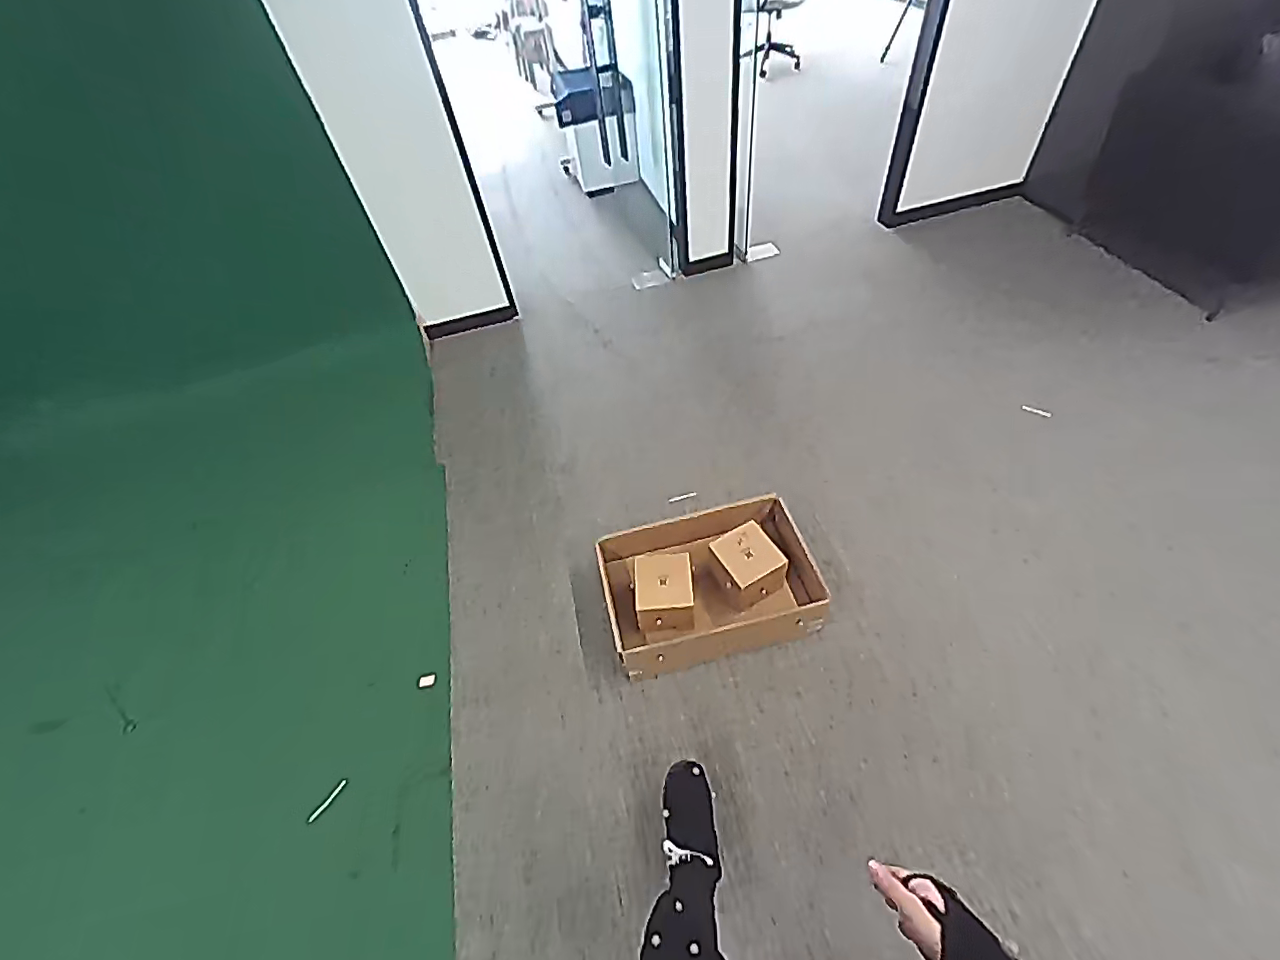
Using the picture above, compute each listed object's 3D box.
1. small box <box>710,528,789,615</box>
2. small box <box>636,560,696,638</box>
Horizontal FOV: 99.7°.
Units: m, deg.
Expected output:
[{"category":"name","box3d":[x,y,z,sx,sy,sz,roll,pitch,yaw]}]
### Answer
[{"category":"small box","box3d":[0.328,0.284,1.637,0.168,0.176,0.179,-26,52,-13]},{"category":"small box","box3d":[0.078,0.360,1.609,0.168,0.176,0.179,-5,49,3]}]
